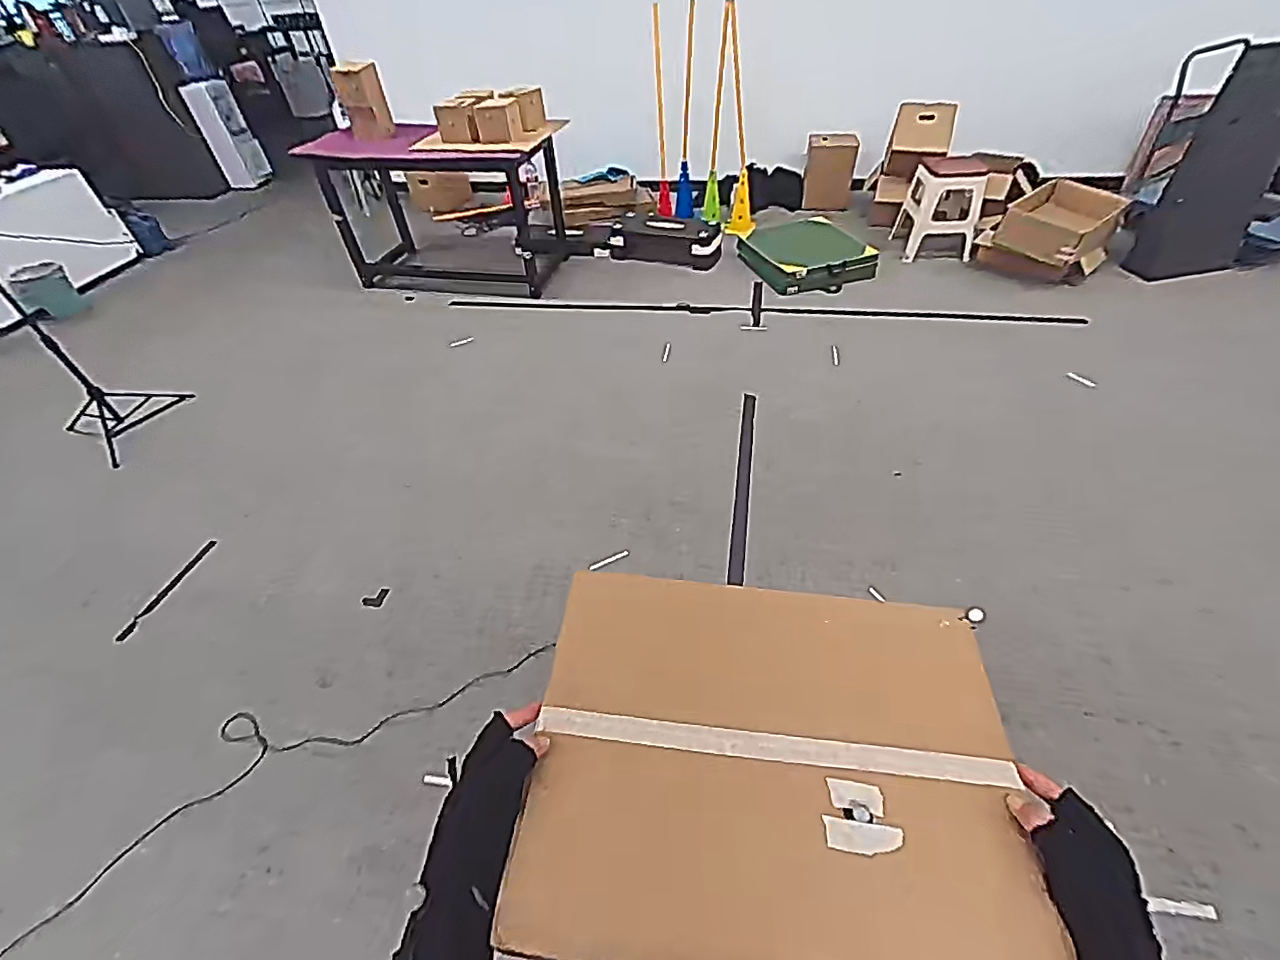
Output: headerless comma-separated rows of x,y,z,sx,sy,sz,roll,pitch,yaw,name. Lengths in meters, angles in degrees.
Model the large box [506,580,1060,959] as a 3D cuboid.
0.111,0.336,0.586,0.408,0.320,0.320,5,49,5,large box
